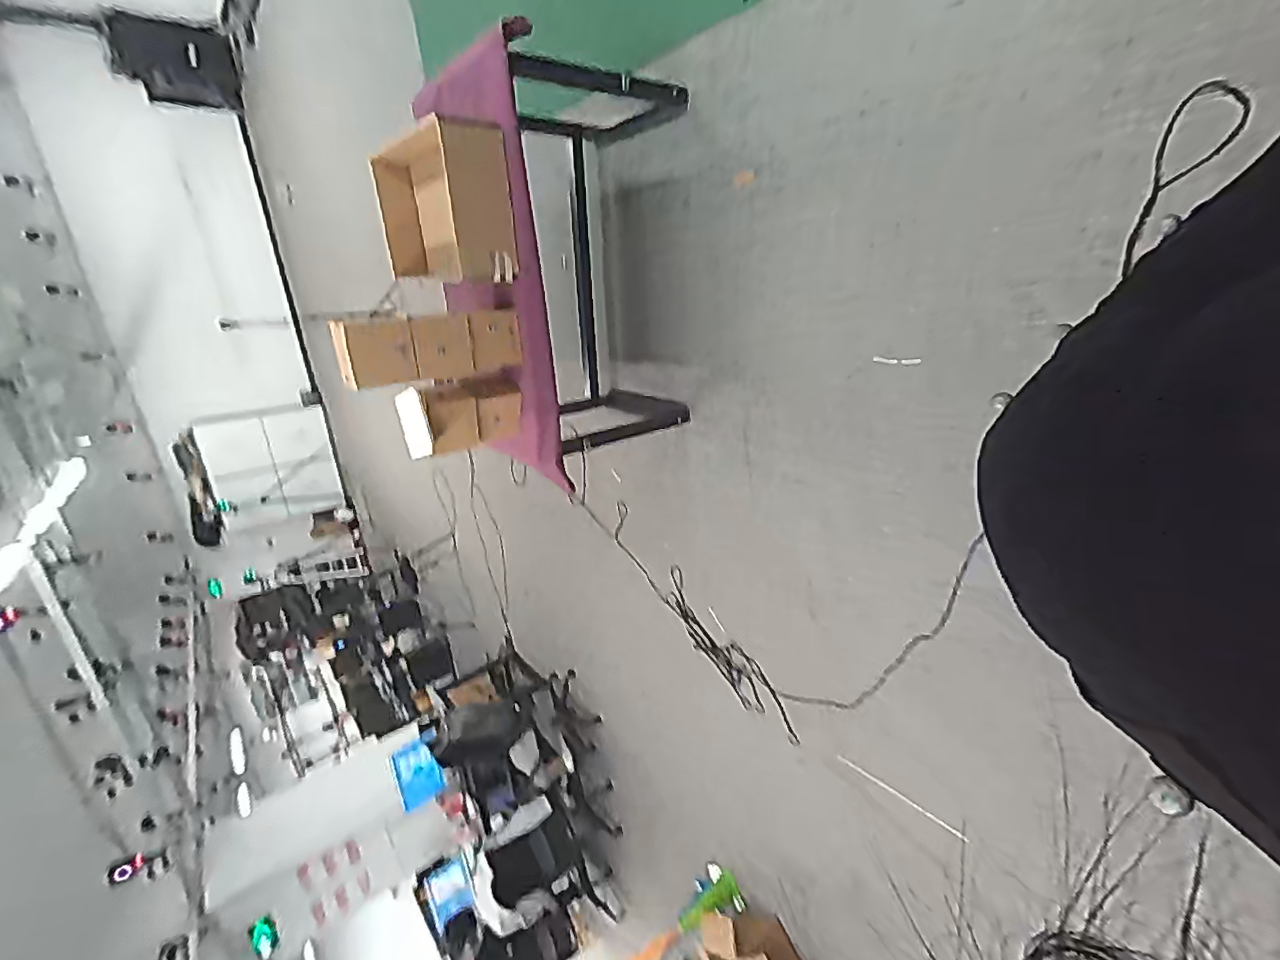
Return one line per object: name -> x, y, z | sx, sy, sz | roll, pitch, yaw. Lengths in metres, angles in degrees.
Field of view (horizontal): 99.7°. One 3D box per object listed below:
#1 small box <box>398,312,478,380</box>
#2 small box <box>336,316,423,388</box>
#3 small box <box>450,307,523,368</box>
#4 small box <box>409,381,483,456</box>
small box -> -0.600, -0.406, 1.613 | 0.168, 0.176, 0.179 | 23, 121, 49
small box -> -0.728, -0.366, 1.519 | 0.168, 0.176, 0.179 | 23, 121, 48
small box -> -0.479, -0.457, 1.713 | 0.179, 0.176, 0.168 | 23, 122, 48
small box -> -0.616, -0.204, 1.728 | 0.168, 0.176, 0.179 | 35, 132, 40
